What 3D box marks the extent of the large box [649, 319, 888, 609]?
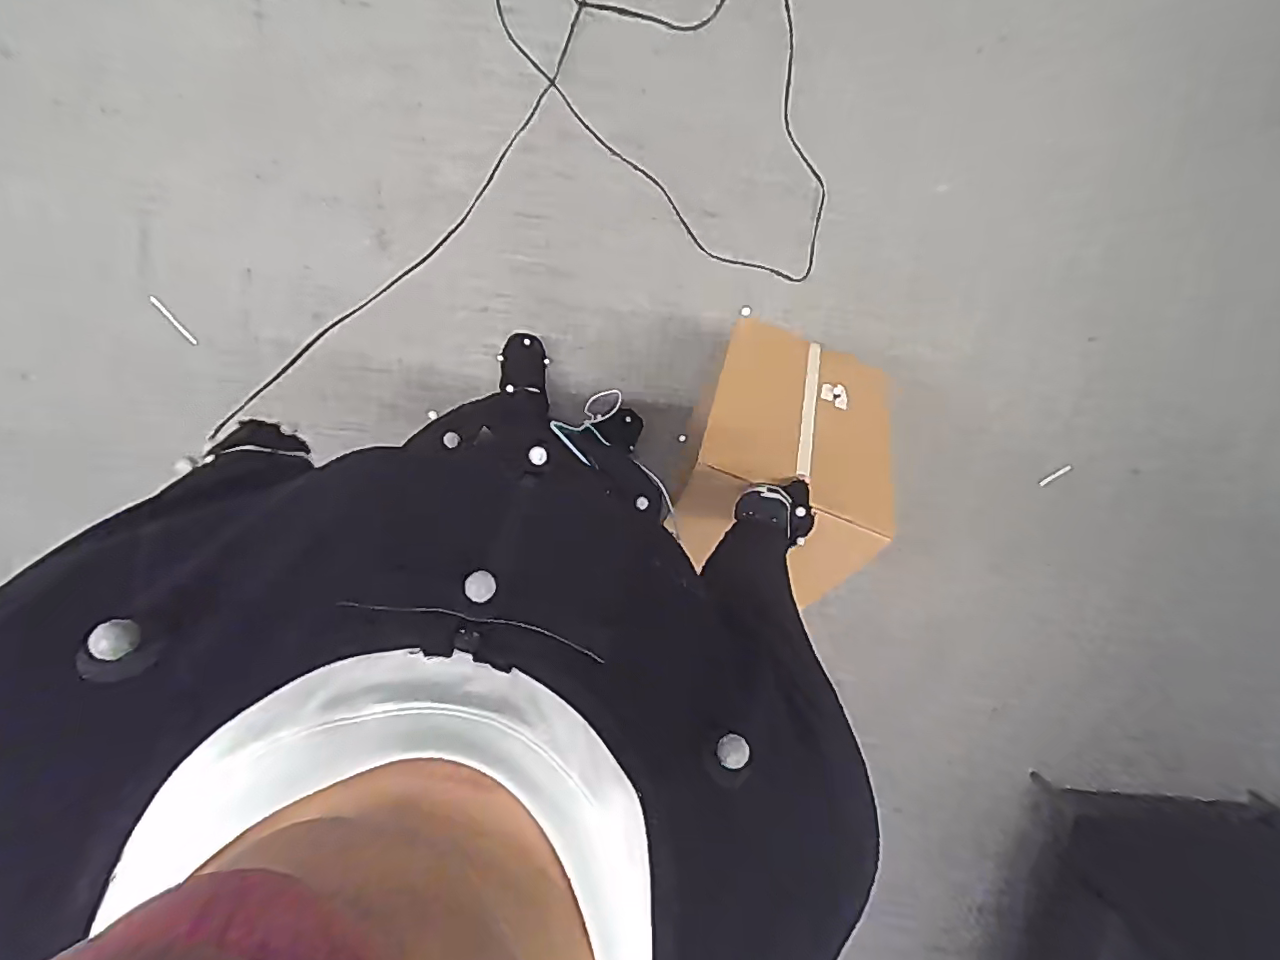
[{"bbox_3d":[0.236,-0.028,1.040,0.320,0.408,0.320,21,140,-3],"label":"large box"}]
